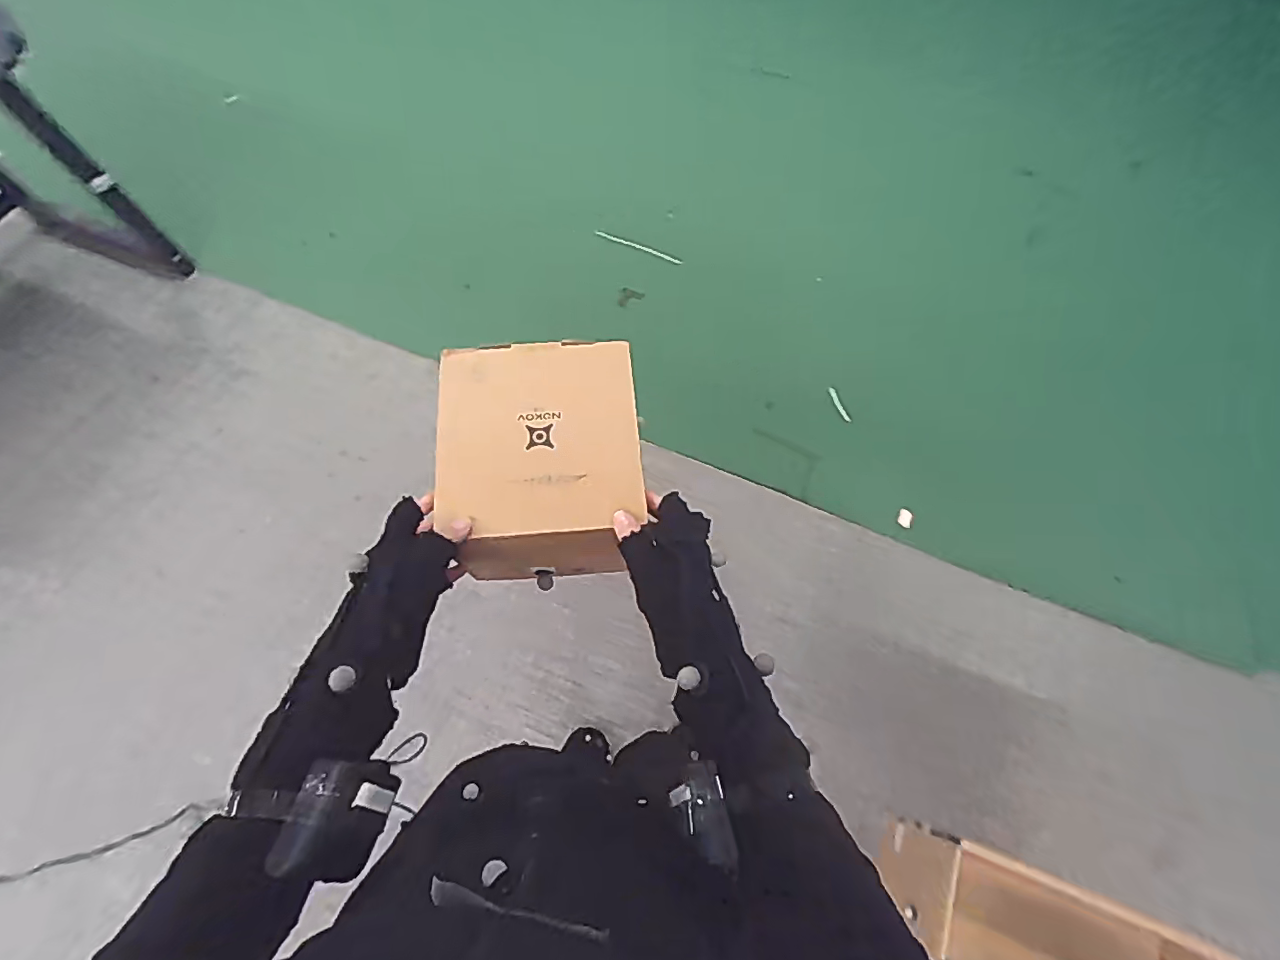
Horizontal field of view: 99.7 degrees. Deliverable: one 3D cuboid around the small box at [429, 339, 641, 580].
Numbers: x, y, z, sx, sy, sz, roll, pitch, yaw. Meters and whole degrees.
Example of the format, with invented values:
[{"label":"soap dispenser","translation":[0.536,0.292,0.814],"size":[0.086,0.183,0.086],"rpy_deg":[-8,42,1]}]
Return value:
[{"label":"small box","translation":[-0.094,-0.012,0.524],"size":[0.168,0.176,0.179],"rpy_deg":[-6,70,-5]}]
